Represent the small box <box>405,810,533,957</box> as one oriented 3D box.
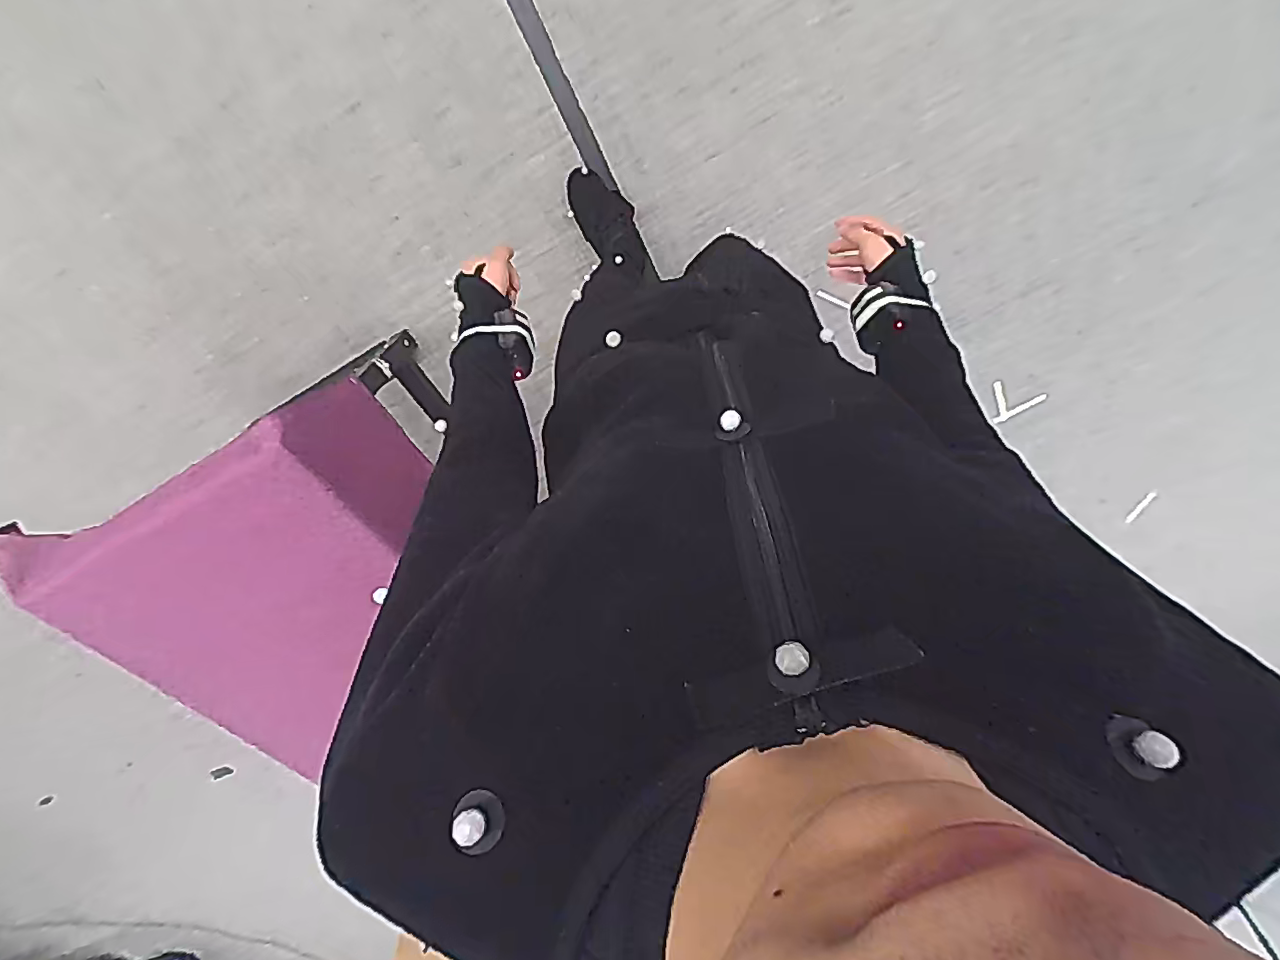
[{"bbox_3d":[-0.330,0.805,1.085,0.179,0.176,0.168,-37,118,15],"label":"small box"}]
